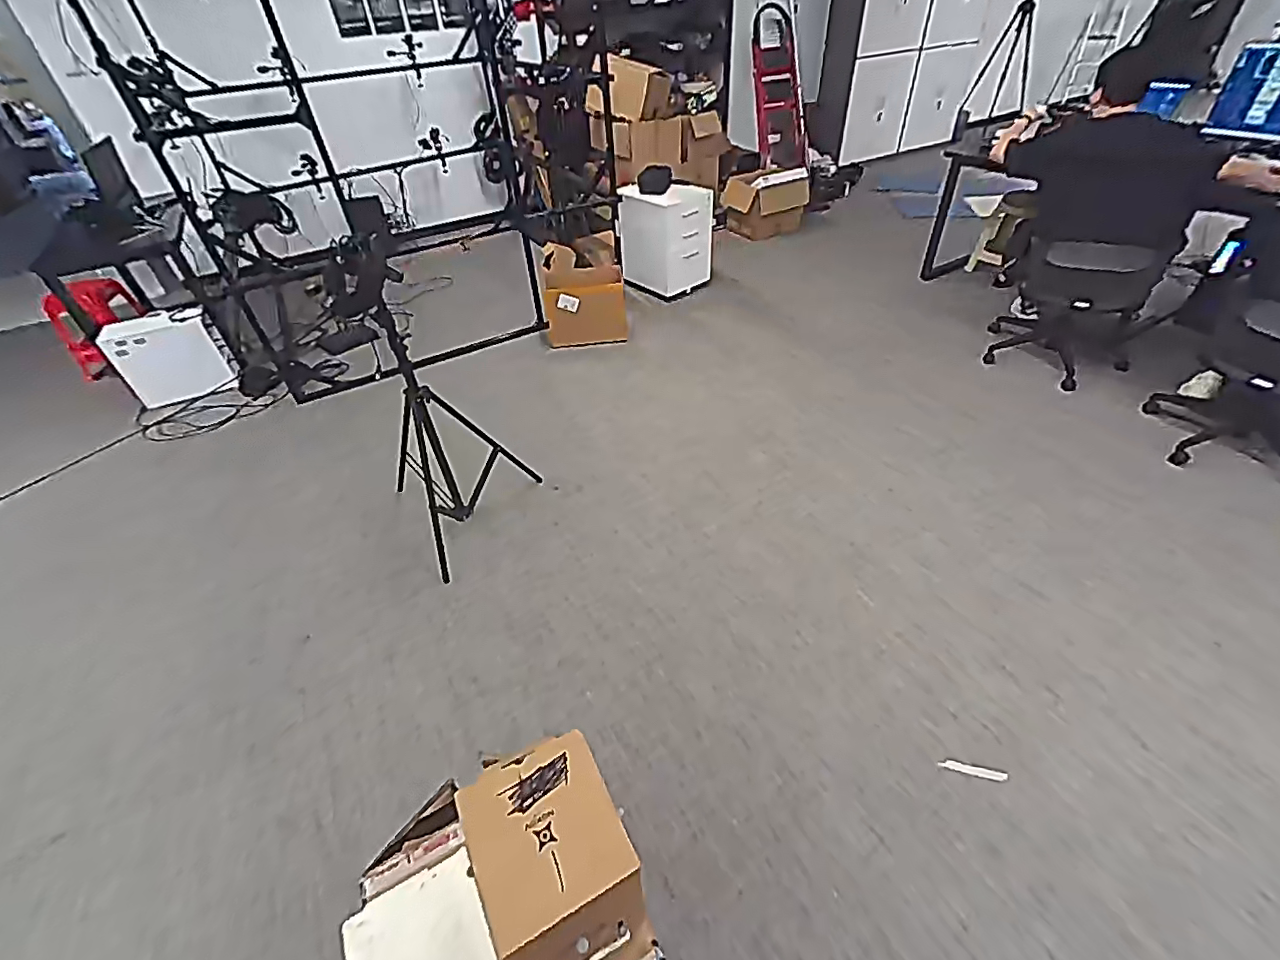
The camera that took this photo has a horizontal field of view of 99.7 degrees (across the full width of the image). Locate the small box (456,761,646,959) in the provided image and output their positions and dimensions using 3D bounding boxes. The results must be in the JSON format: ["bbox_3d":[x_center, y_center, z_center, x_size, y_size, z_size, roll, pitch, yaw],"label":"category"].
[{"bbox_3d":[-0.105,0.490,0.656,0.168,0.176,0.179,-21,46,-20],"label":"small box"}]
